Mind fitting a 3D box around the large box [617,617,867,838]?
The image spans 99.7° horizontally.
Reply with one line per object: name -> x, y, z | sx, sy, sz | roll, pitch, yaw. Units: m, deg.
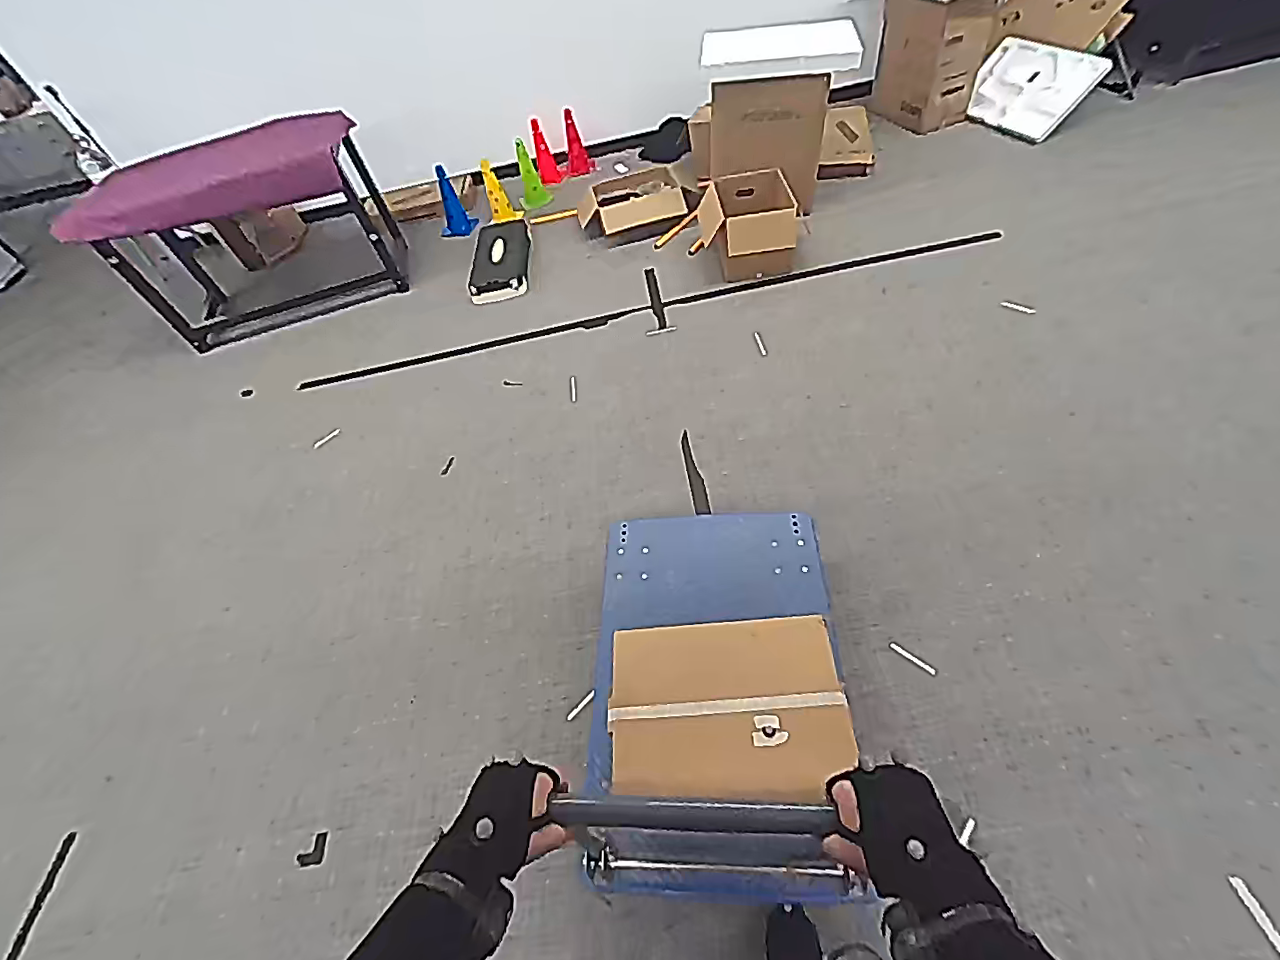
large box -> 0.176, 0.497, 1.071 | 0.408, 0.320, 0.320 | -6, 51, 5
